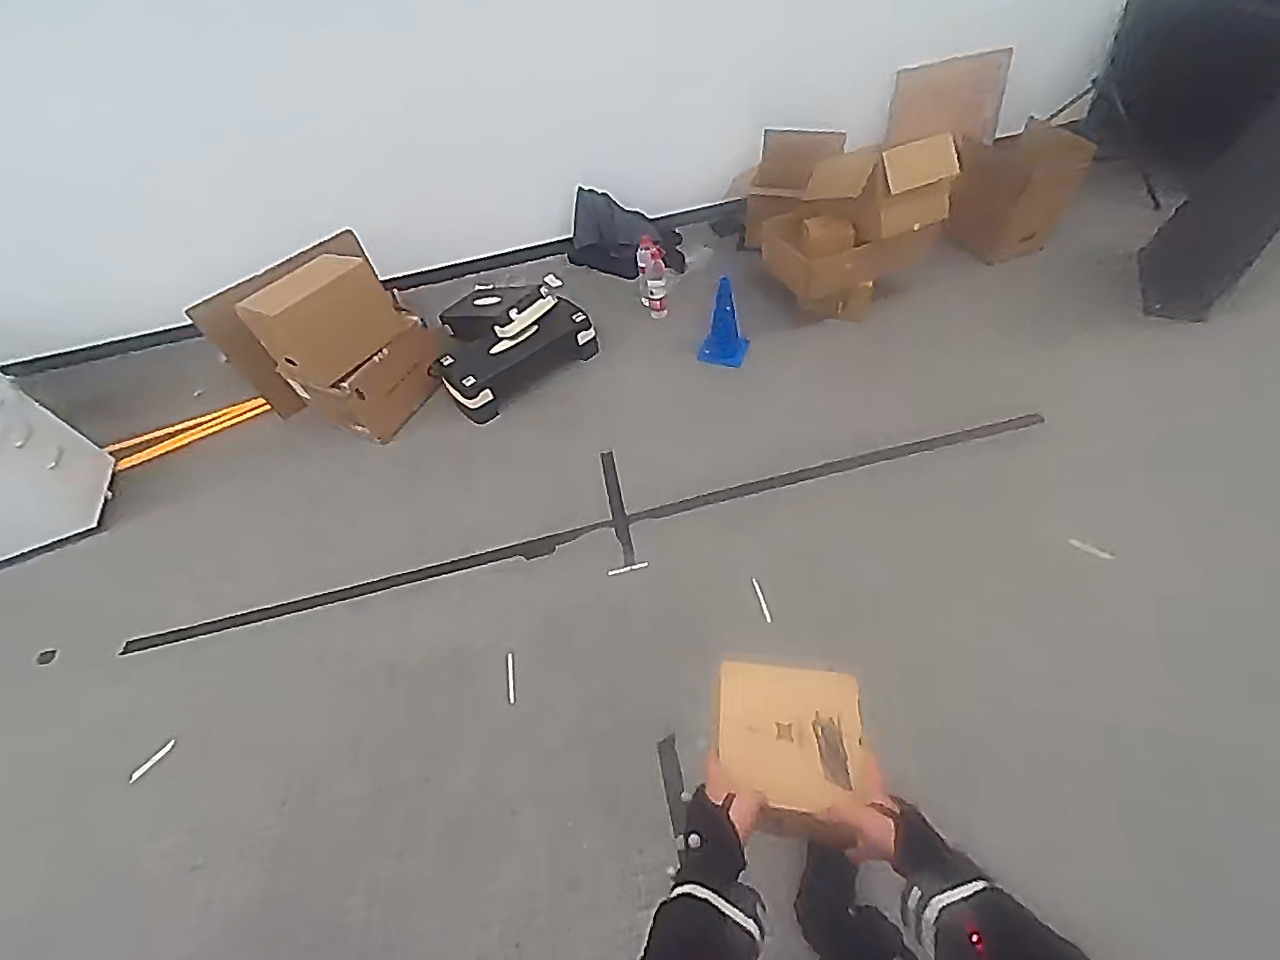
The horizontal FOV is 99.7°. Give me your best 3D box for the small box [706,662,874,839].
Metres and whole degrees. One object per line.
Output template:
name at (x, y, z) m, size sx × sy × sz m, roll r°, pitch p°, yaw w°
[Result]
small box at (0.185, 0.361, 0.717) m, size 0.179 × 0.176 × 0.168 m, roll 4°, pitch 49°, yaw 6°
